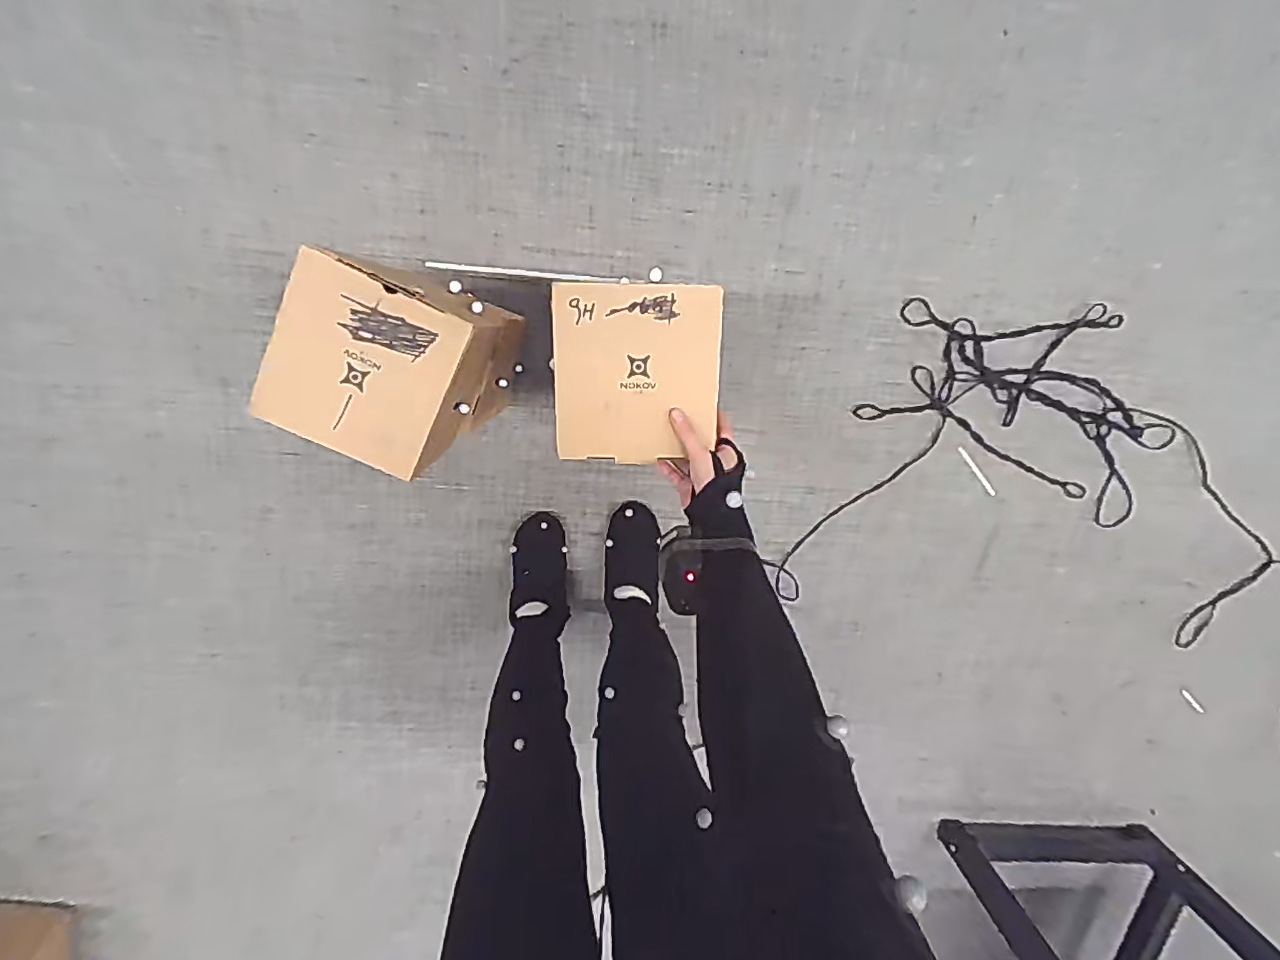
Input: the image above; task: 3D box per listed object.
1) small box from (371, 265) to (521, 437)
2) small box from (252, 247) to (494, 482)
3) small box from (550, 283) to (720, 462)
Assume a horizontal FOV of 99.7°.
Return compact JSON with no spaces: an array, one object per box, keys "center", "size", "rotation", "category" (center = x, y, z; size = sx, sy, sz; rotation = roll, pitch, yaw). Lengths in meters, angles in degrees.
[{"center":[-0.283,-0.176,0.757],"size":[0.179,0.176,0.168],"rotation":[20,102,-10],"category":"small box"},{"center":[-0.275,-0.126,0.601],"size":[0.168,0.176,0.179],"rotation":[25,102,-10],"category":"small box"},{"center":[-0.009,-0.127,0.615],"size":[0.168,0.176,0.179],"rotation":[0,107,-3],"category":"small box"}]
